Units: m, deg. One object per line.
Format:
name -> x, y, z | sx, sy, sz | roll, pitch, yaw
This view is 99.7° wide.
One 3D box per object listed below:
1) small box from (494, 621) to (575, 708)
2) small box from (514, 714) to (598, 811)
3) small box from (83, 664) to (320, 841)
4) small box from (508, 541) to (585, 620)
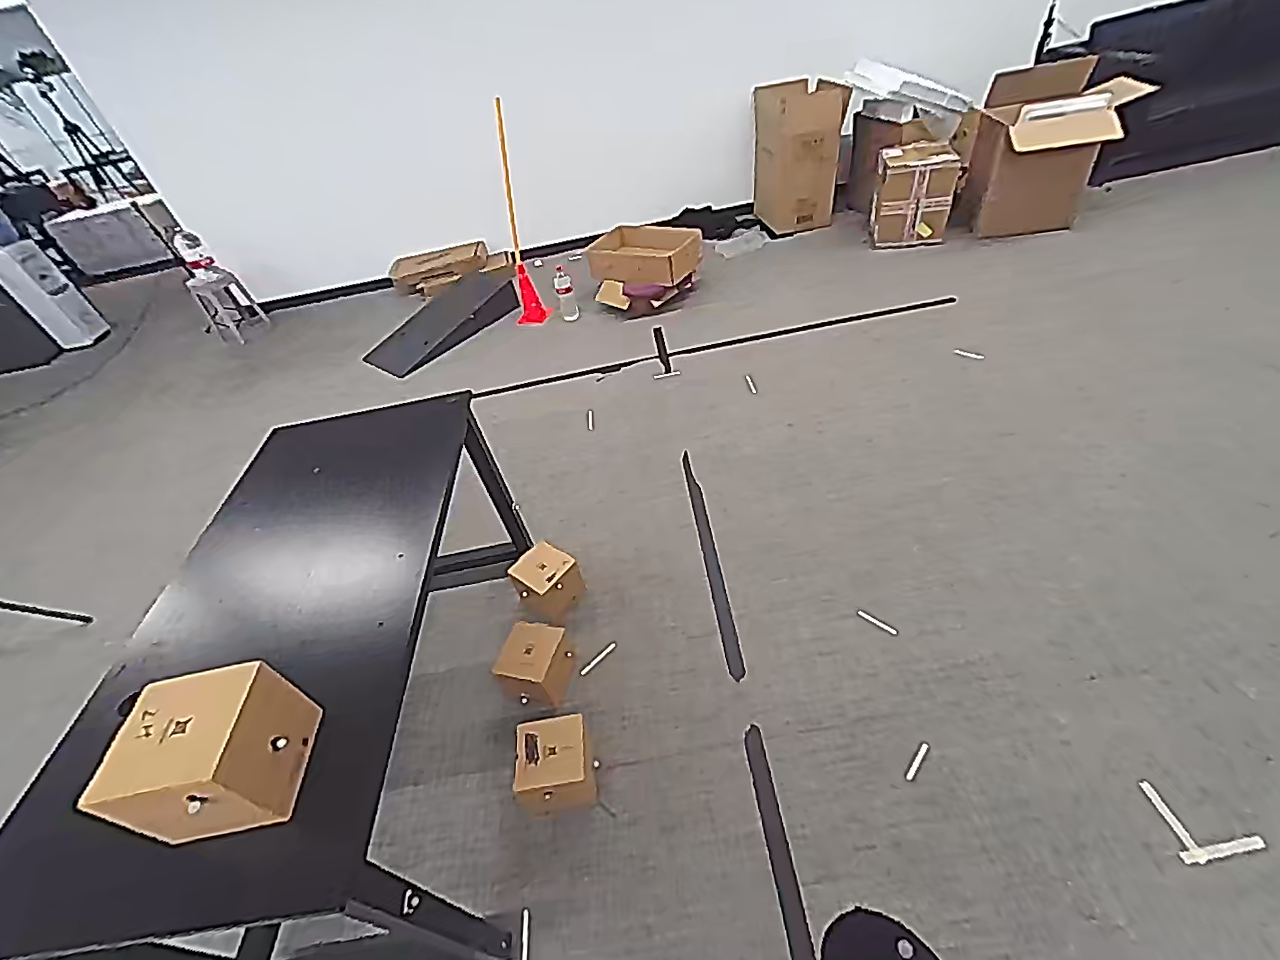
small box -> -0.308, 0.555, 1.629 | 0.168, 0.176, 0.179 | 4, 46, 18
small box -> -0.214, 0.738, 1.408 | 0.179, 0.176, 0.168 | -10, 43, 0
small box -> -0.607, 0.396, 0.784 | 0.179, 0.176, 0.168 | -12, 42, 1
small box -> -0.315, 0.346, 1.849 | 0.179, 0.176, 0.168 | 23, 53, 32
